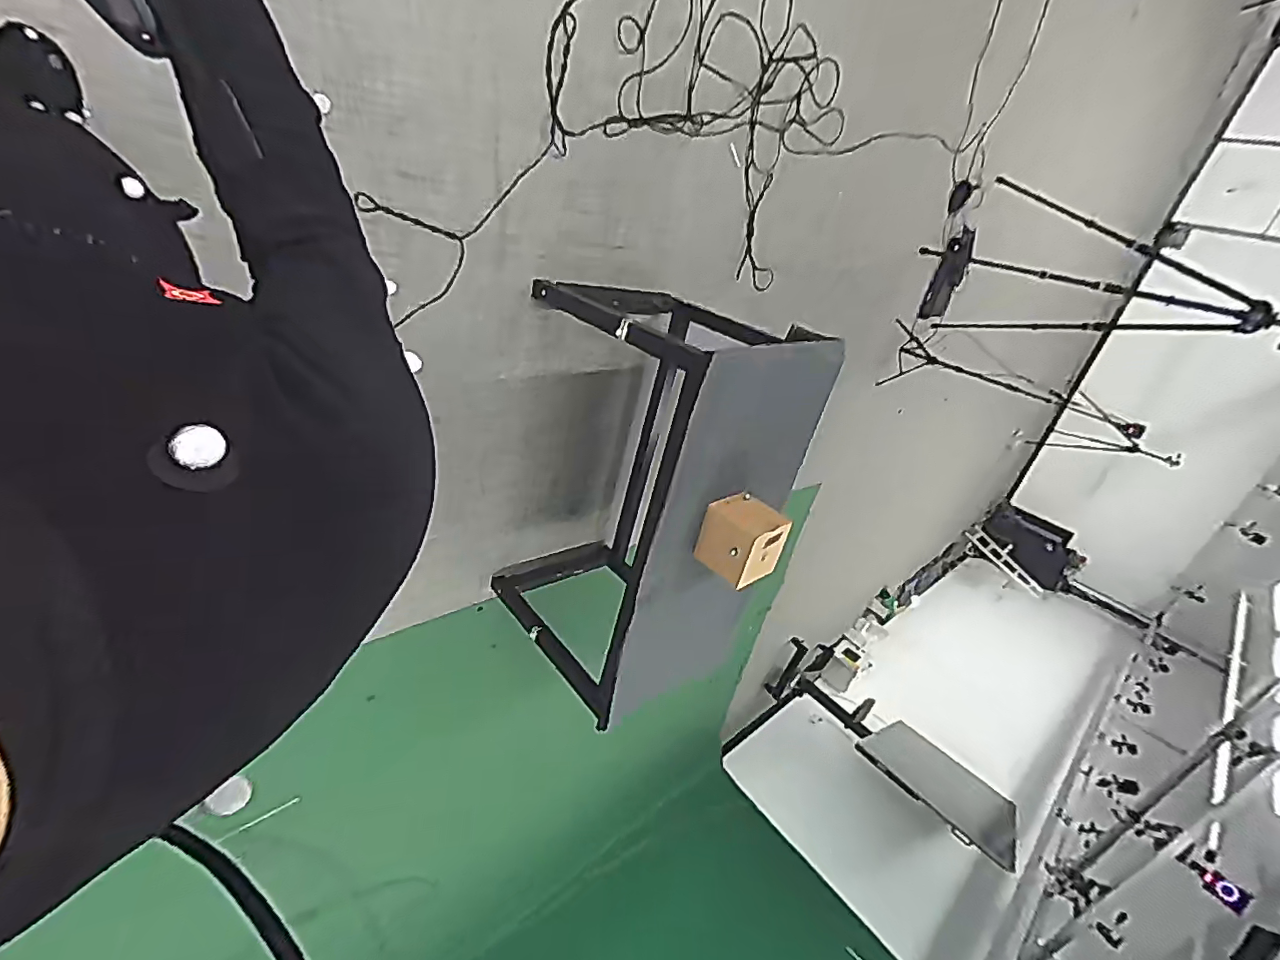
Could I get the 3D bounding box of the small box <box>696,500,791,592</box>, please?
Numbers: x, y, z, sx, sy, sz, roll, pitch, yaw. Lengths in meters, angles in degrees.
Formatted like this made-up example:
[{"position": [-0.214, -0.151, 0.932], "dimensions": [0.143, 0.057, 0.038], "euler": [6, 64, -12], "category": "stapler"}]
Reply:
[{"position": [0.276, 0.169, 1.479], "dimensions": [0.168, 0.176, 0.179], "euler": [-14, 128, -40], "category": "small box"}]
